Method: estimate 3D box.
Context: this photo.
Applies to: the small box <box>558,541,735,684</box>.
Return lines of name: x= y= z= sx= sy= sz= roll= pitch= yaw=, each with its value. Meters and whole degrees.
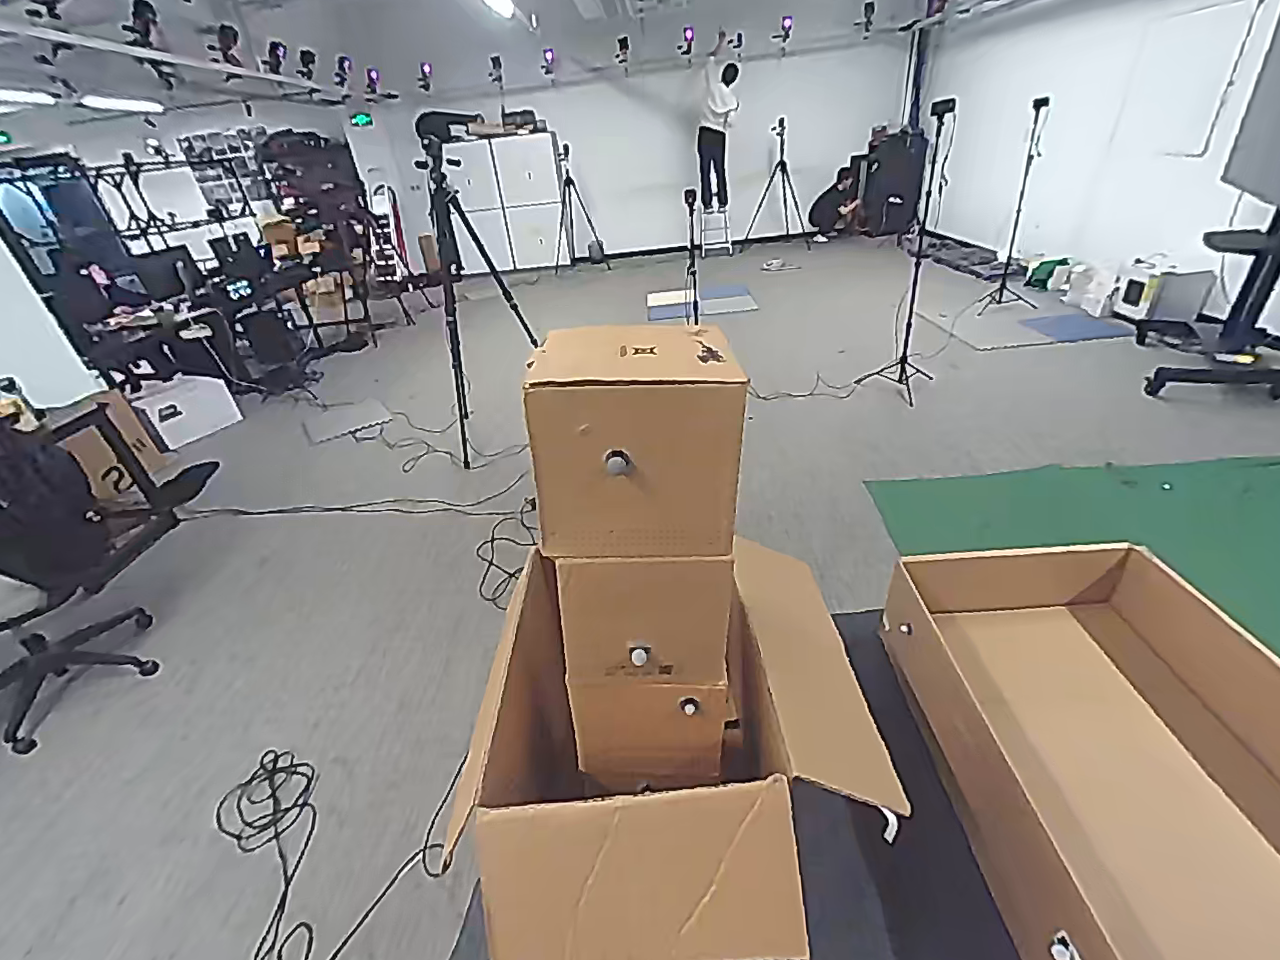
small box: x=0.006 y=0.101 z=0.604 sx=0.168 sy=0.176 sz=0.179 roll=-1 pitch=31 yaw=0

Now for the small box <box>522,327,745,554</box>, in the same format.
small box: x=-0.002 y=-0.041 z=0.521 sx=0.179 sy=0.176 sz=0.168 roll=-2 pitch=31 yaw=0
